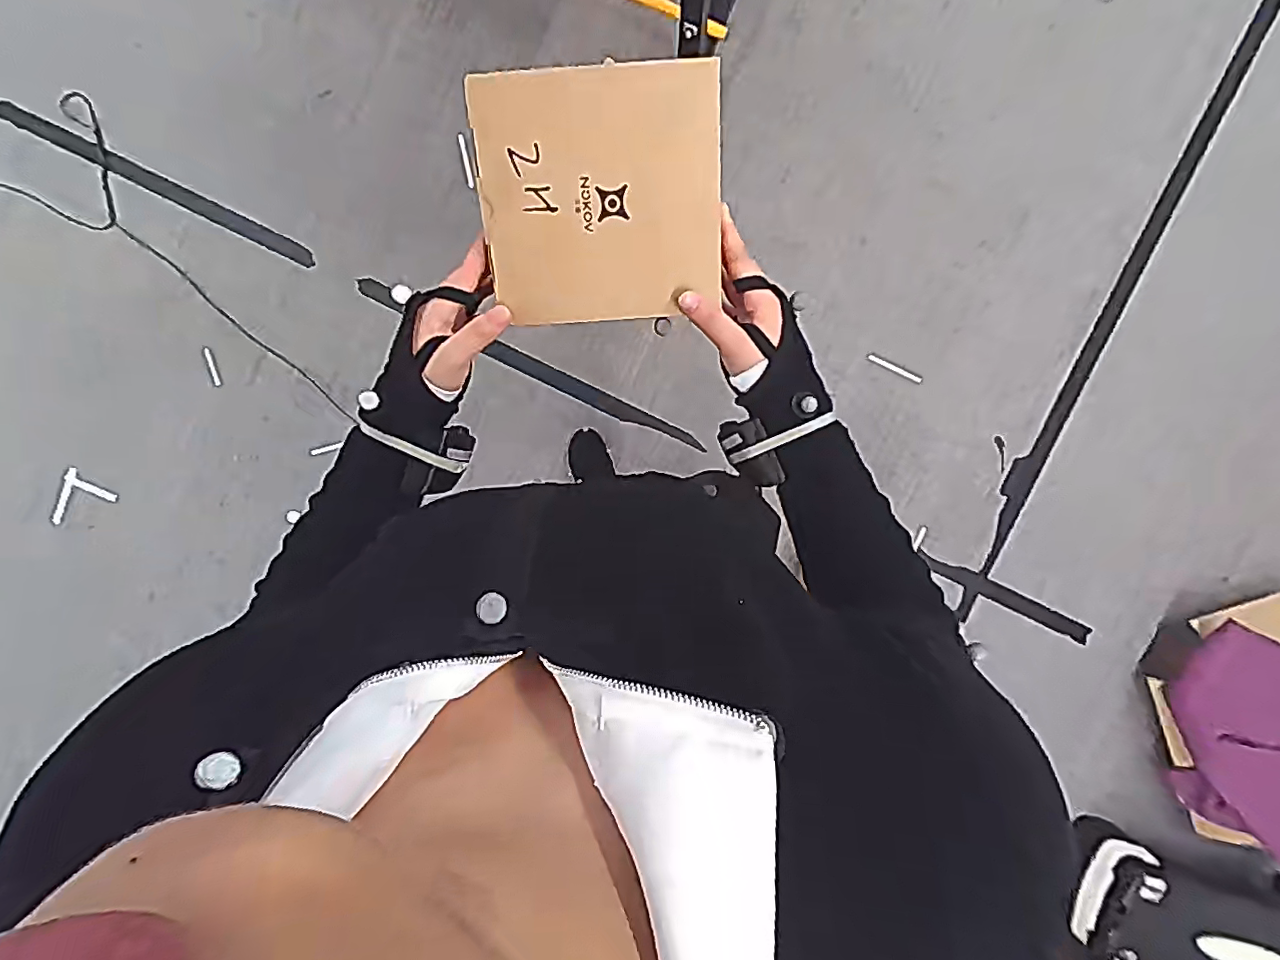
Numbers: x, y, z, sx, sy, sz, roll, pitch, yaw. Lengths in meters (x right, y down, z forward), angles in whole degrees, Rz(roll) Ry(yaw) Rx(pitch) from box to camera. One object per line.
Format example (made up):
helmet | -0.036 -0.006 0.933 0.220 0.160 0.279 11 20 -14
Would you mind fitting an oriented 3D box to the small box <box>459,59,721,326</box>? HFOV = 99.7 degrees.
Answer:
small box | -0.031 -0.226 0.458 0.179 0.176 0.168 -3 110 1
